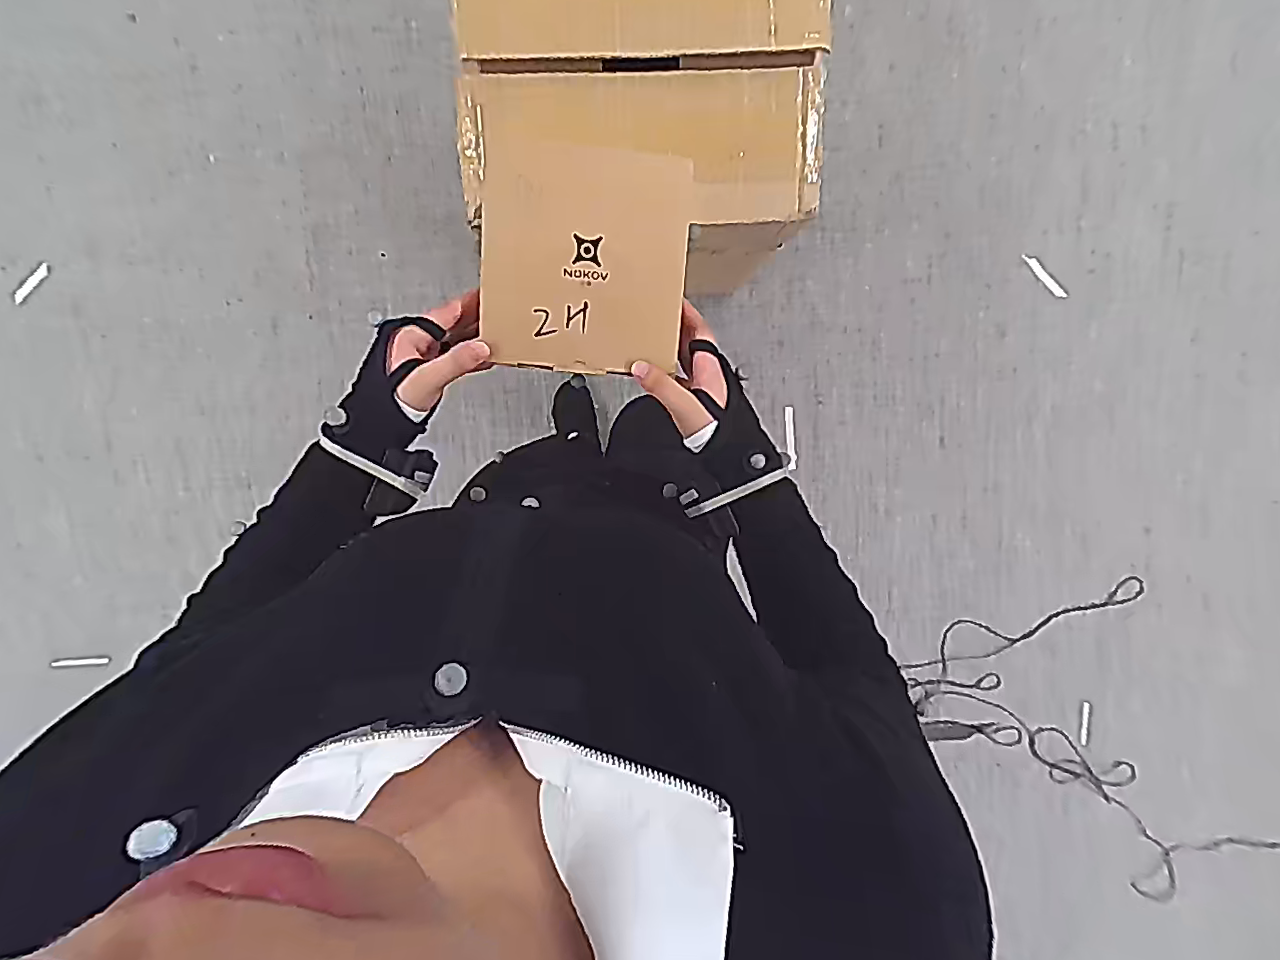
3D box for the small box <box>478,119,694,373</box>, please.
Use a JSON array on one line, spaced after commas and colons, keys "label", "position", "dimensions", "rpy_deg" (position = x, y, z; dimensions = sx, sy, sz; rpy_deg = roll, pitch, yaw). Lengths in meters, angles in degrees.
[{"label": "small box", "position": [-0.053, -0.199, 0.514], "dimensions": [0.168, 0.176, 0.179], "rpy_deg": [4, 100, -7]}]
